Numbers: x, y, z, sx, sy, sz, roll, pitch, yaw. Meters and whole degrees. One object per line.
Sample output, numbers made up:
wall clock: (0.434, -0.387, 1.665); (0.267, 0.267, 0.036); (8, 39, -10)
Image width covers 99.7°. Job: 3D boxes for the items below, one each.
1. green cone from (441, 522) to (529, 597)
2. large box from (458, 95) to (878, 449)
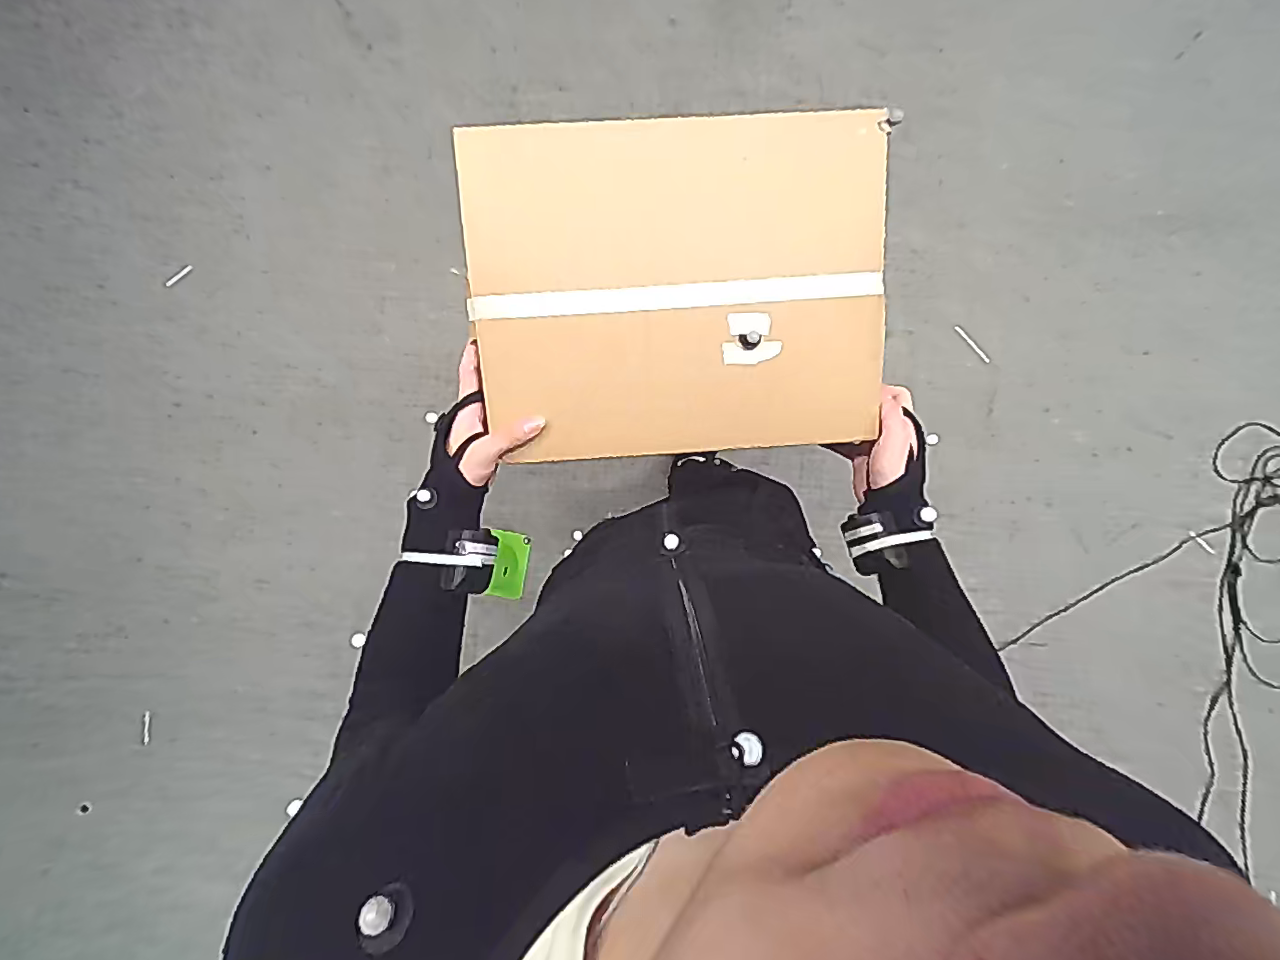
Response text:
green cone: (-0.451, 0.245, 1.465); (0.200, 0.368, 0.202); (10, 93, 2)
large box: (0.030, -0.228, 0.680); (0.408, 0.320, 0.320); (-4, 103, -3)
